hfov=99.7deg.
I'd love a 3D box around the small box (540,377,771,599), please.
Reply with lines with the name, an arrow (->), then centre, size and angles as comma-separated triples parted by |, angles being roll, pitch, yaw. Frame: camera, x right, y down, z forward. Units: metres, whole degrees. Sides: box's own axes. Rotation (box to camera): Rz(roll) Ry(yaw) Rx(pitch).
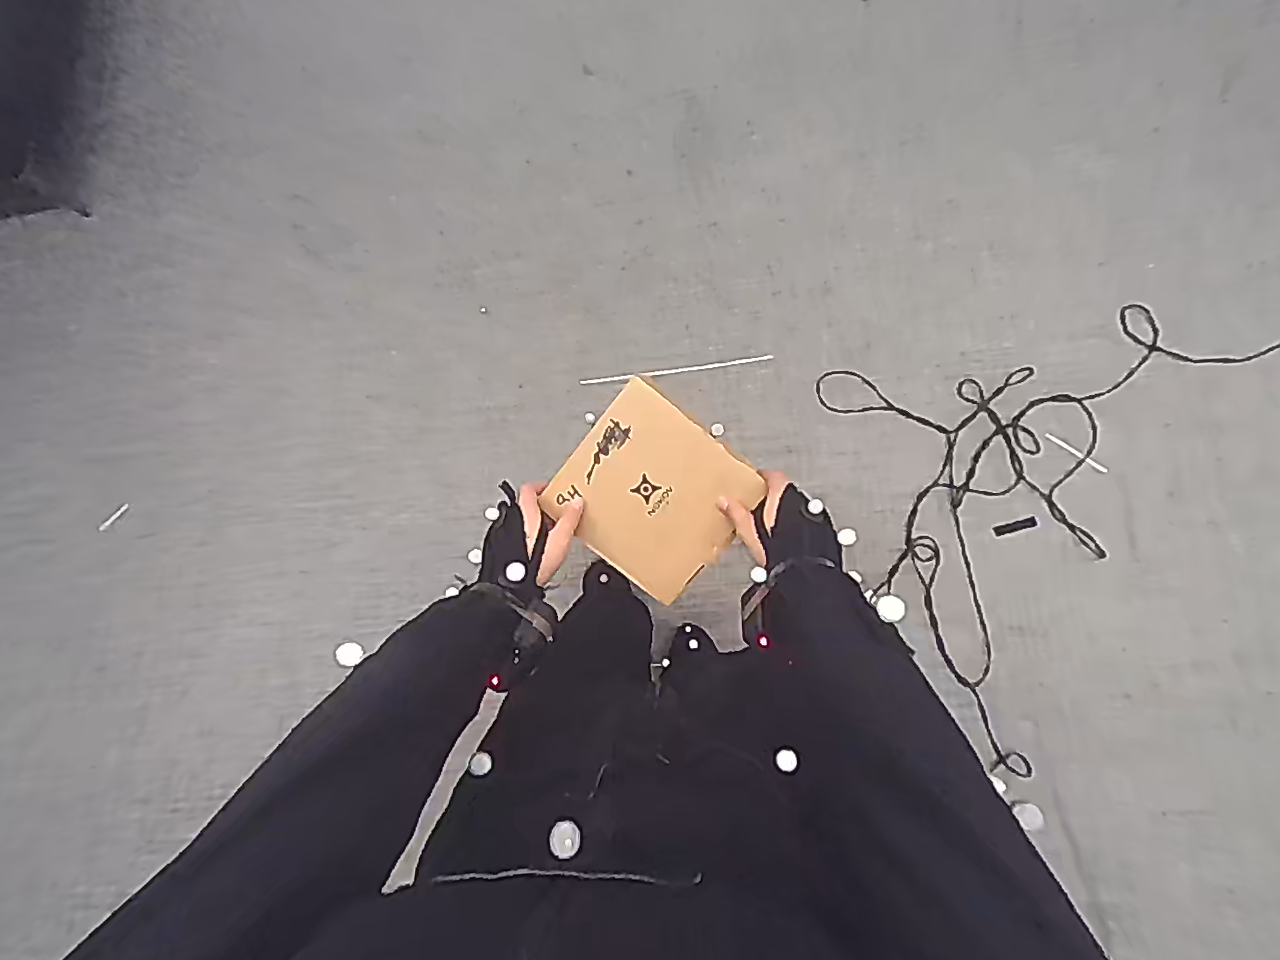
small box -> 0.019, -0.003, 0.620 | 0.179, 0.176, 0.168 | 39, 100, -3
